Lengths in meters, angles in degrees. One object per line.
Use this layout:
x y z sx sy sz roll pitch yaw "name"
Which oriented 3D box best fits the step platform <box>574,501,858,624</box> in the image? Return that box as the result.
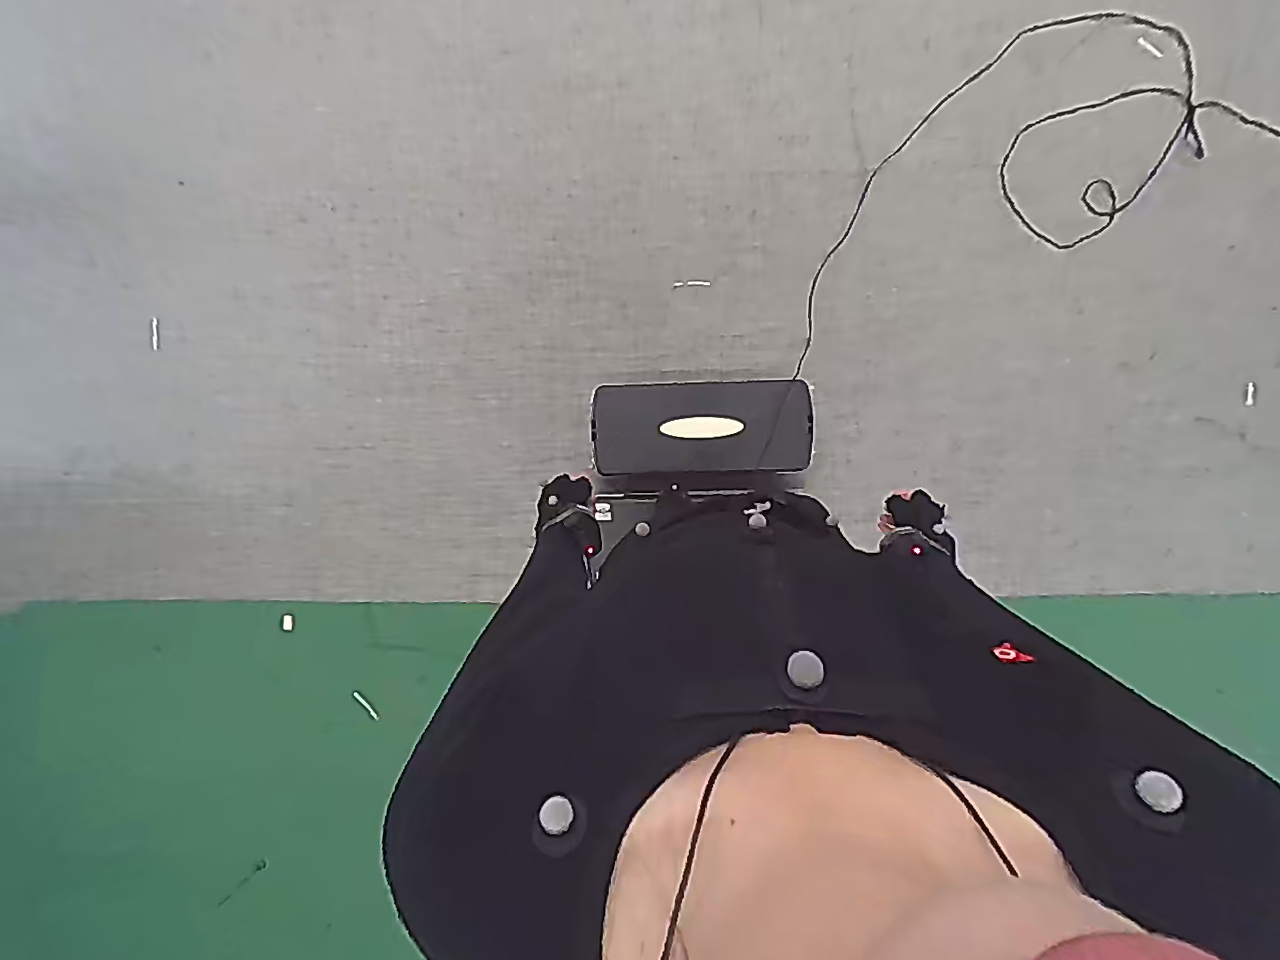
0.182 0.202 1.392 0.684 0.204 0.286 -1 90 1 "step platform"
